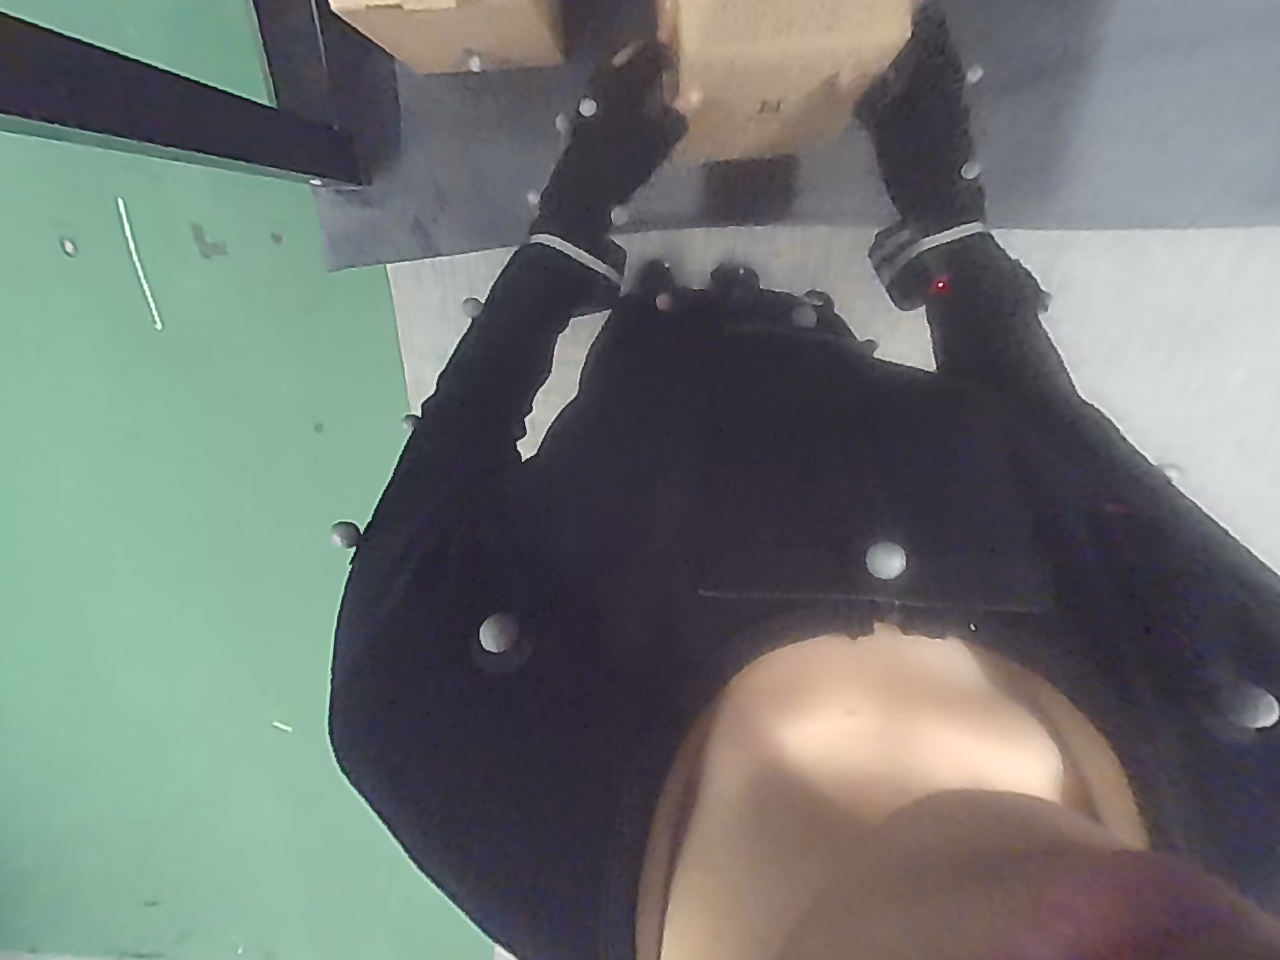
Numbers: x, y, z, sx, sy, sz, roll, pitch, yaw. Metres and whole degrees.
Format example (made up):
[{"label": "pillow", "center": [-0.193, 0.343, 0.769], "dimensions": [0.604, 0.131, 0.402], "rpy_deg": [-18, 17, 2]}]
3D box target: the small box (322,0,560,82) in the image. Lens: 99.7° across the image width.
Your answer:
[{"label": "small box", "center": [-0.170, -0.484, 0.476], "dimensions": [0.168, 0.176, 0.179], "rpy_deg": [0, 111, 4]}]
